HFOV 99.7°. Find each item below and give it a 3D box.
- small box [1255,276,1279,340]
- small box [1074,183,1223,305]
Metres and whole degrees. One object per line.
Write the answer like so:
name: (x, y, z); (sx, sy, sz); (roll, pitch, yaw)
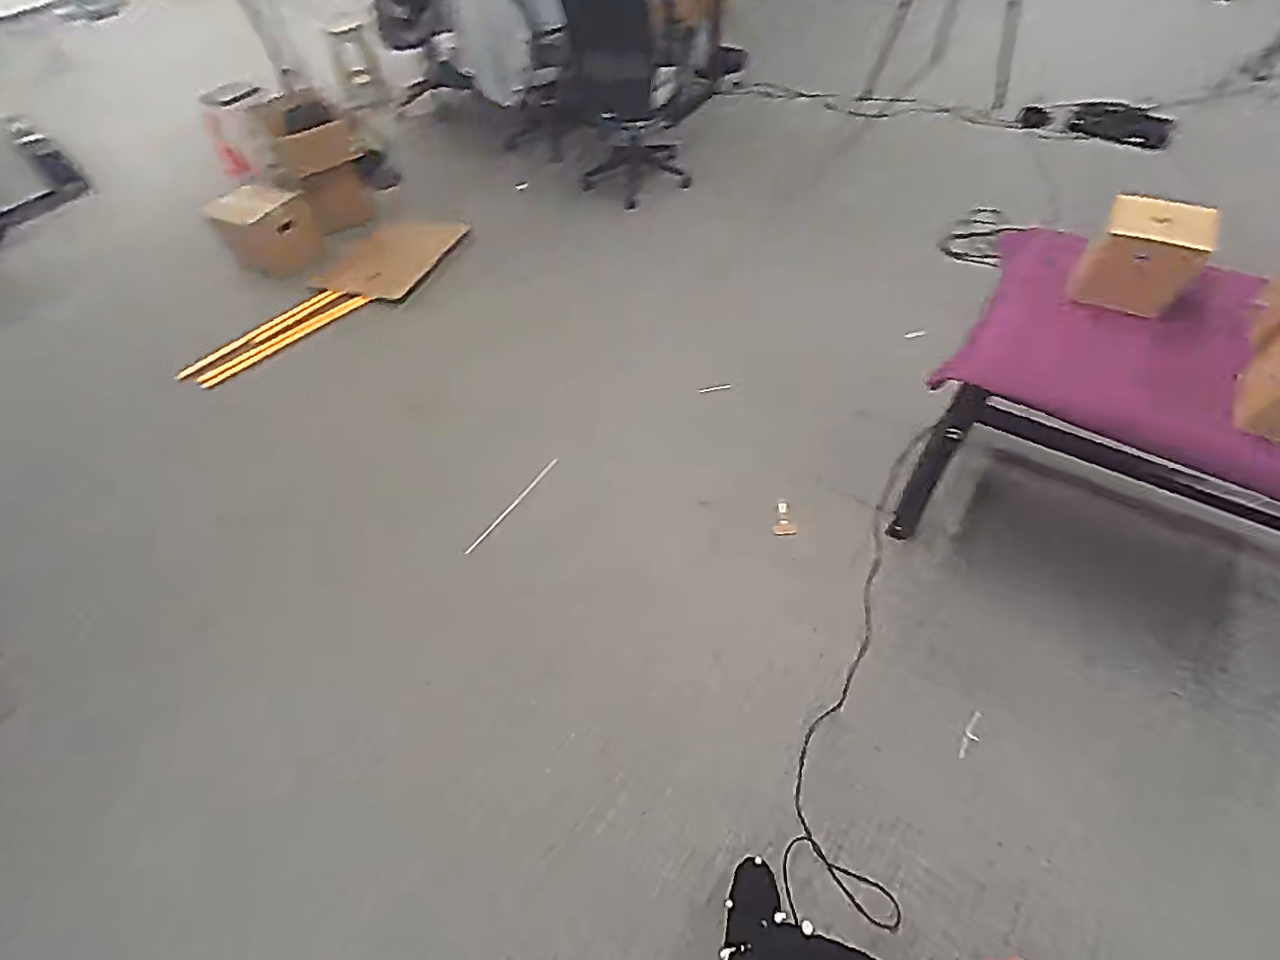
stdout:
small box: (1.365, -0.363, 1.038); (0.179, 0.176, 0.168); (26, 62, 23)
small box: (1.089, -0.508, 1.170); (0.179, 0.176, 0.168); (25, 62, 22)
